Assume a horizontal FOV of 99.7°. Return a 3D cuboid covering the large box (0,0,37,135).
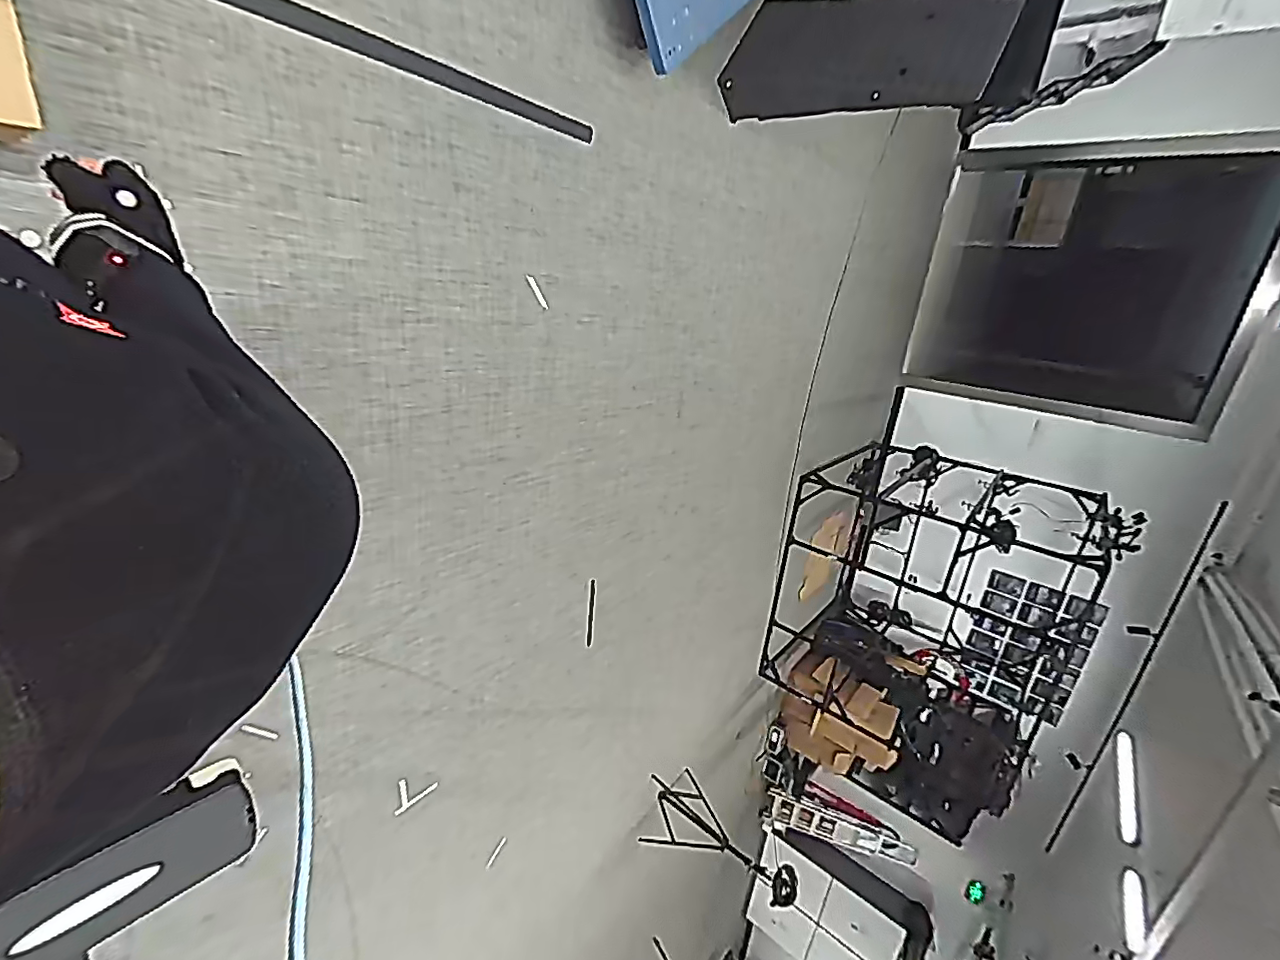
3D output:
[{"bbox_3d":[-1.068,-0.637,0.633,0.408,0.320,0.320,-21,124,-50],"label":"large box"}]
